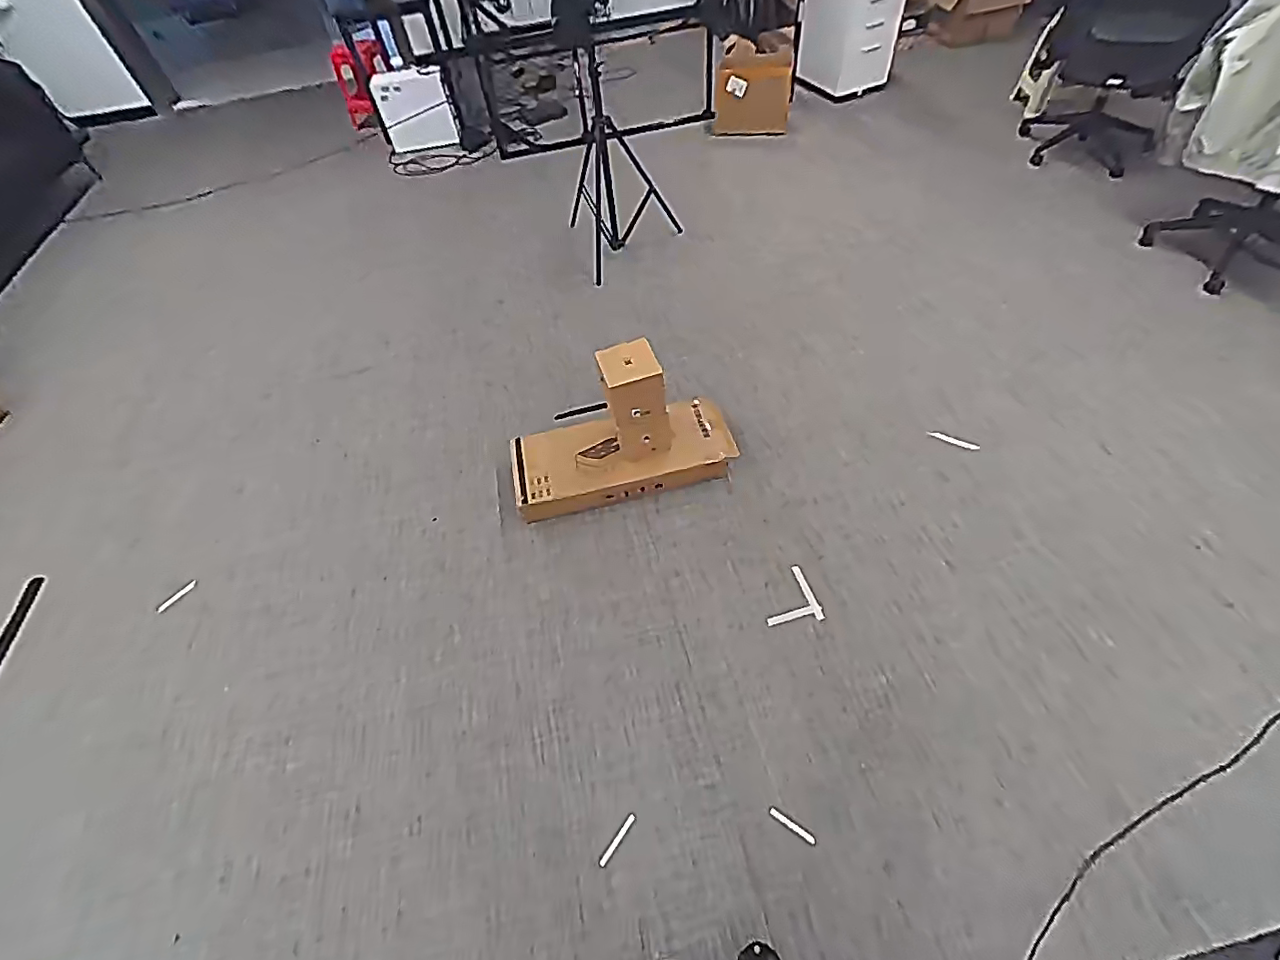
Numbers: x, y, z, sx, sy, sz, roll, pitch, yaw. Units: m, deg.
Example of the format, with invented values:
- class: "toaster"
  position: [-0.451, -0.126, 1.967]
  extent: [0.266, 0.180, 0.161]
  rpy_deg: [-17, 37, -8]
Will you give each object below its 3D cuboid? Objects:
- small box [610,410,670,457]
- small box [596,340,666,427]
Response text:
- class: "small box"
  position: [-0.002, -0.195, 1.774]
  extent: [0.168, 0.176, 0.179]
  rpy_deg: [-15, 53, -5]
- class: "small box"
  position: [-0.025, -0.292, 1.645]
  extent: [0.168, 0.176, 0.179]
  rpy_deg: [-18, 53, -6]
